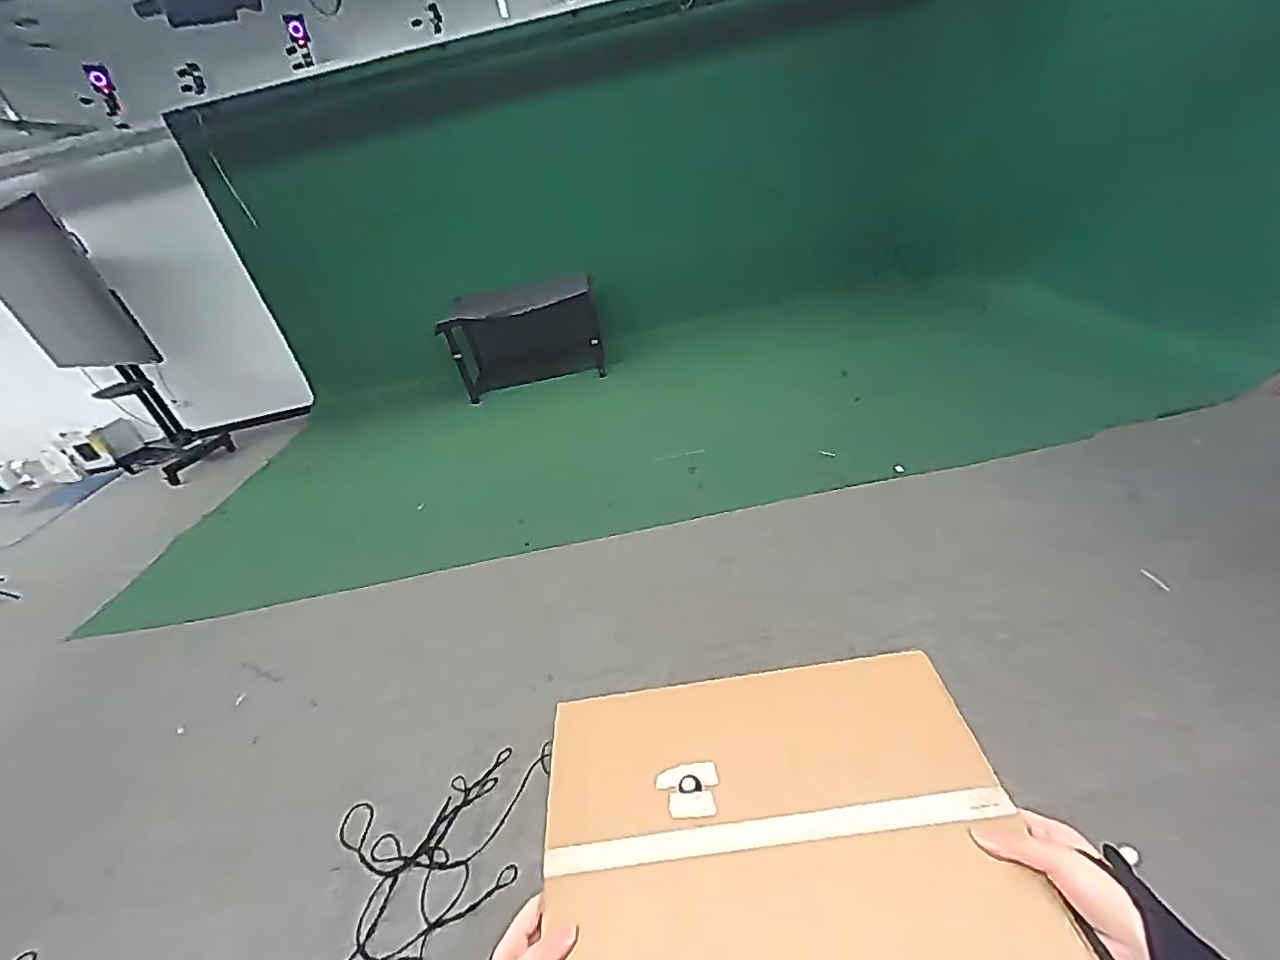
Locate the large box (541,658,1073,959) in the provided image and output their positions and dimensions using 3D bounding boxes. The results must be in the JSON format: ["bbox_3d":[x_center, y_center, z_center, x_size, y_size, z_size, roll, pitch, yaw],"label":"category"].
[{"bbox_3d":[0.140,0.436,0.566,0.408,0.320,0.320,-11,36,4],"label":"large box"}]
